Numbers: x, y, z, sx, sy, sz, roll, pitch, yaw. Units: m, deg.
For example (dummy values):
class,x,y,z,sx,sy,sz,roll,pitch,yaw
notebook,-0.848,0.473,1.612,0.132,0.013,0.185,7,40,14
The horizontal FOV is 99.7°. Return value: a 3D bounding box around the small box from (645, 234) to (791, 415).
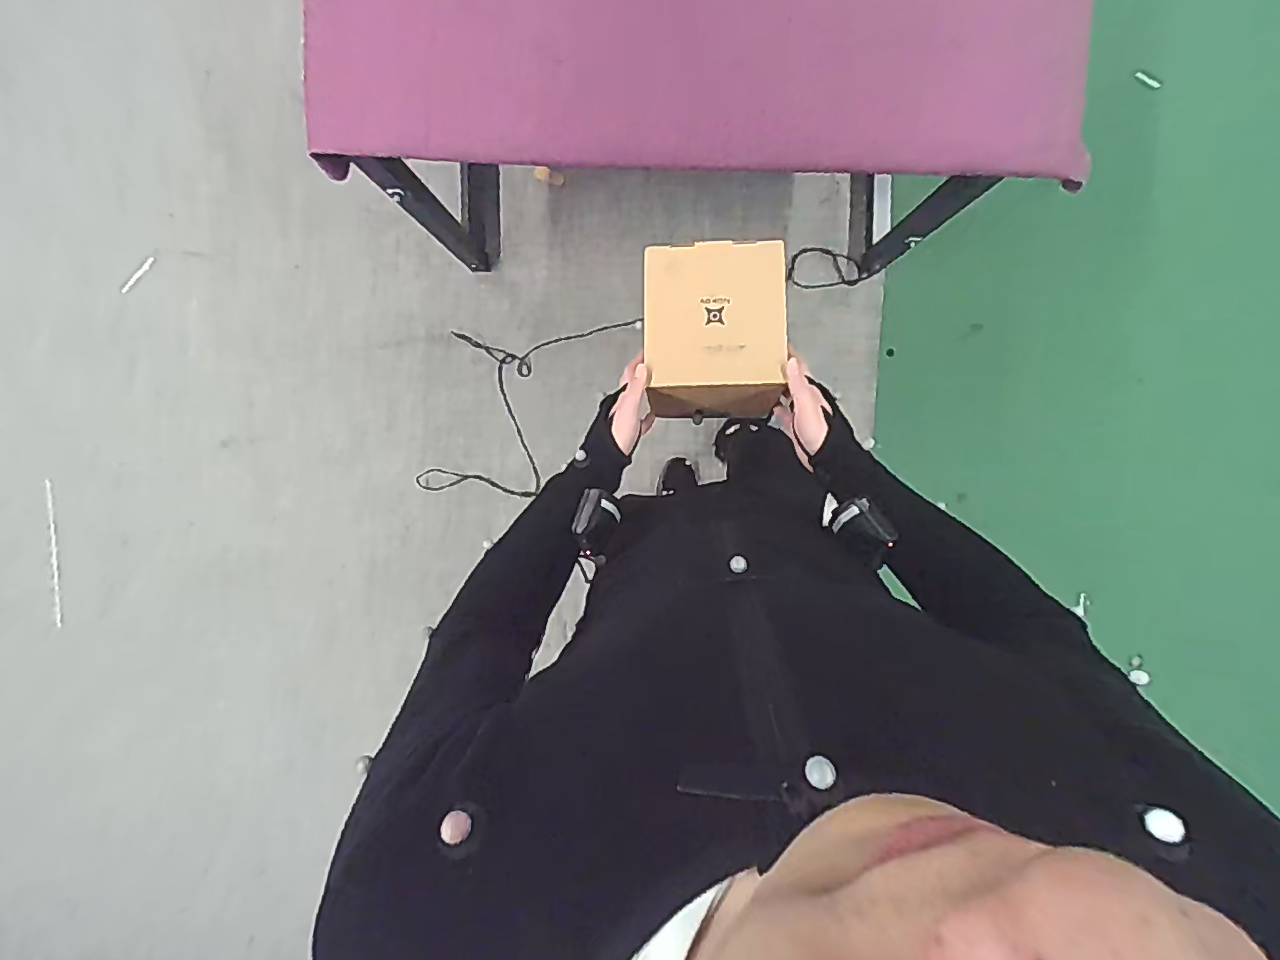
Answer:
class,x,y,z,sx,sy,sz,roll,pitch,yaw
small box,0.094,-0.188,0.695,0.168,0.176,0.179,0,84,5
